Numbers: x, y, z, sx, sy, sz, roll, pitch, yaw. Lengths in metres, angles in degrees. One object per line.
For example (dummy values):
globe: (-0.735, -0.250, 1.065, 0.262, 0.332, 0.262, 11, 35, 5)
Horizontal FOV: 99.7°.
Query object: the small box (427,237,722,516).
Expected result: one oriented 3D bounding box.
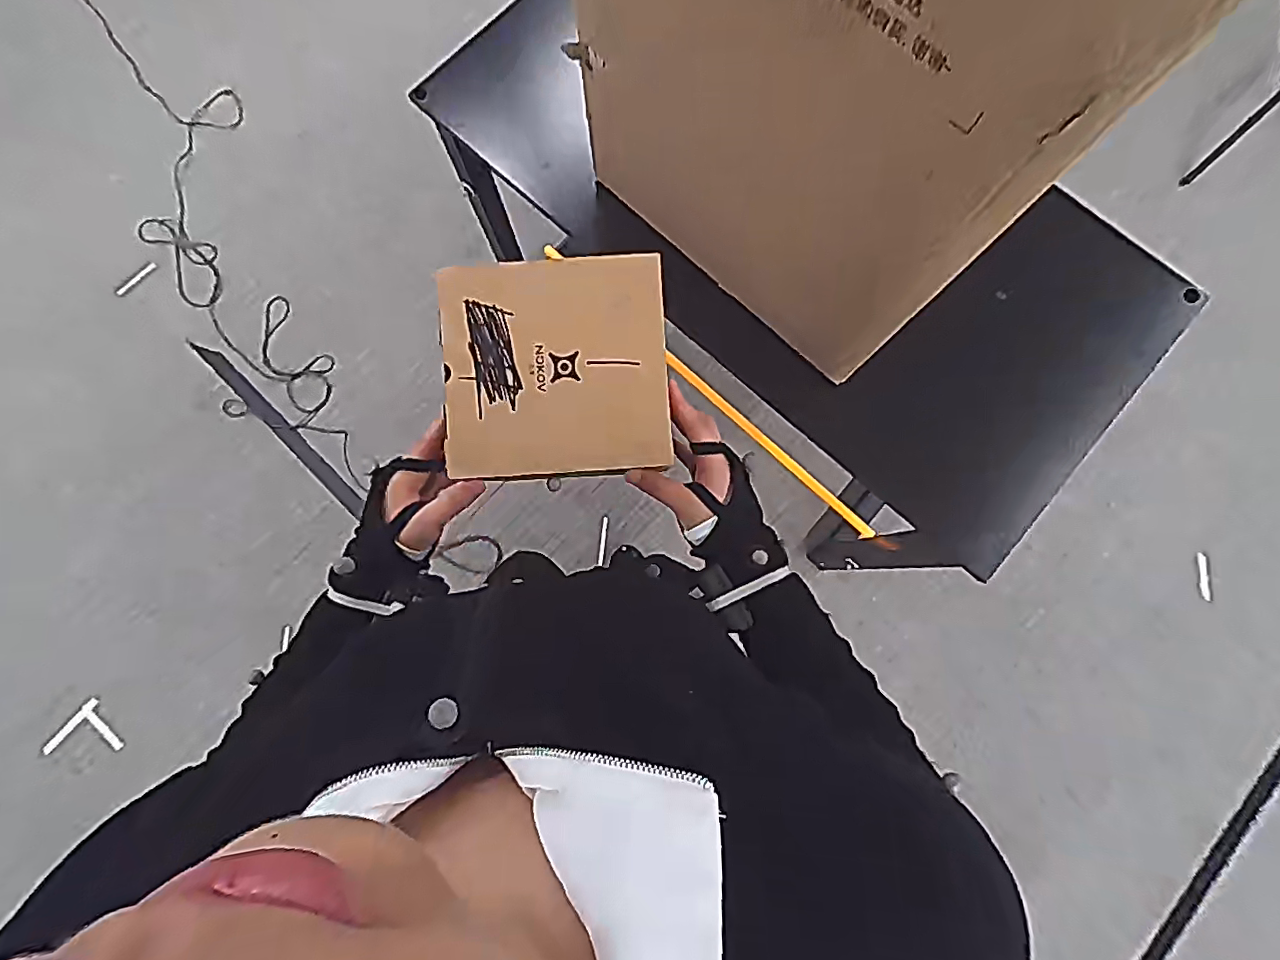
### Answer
small box: (-0.040, -0.062, 0.411, 0.179, 0.176, 0.168, -4, 90, 0)
